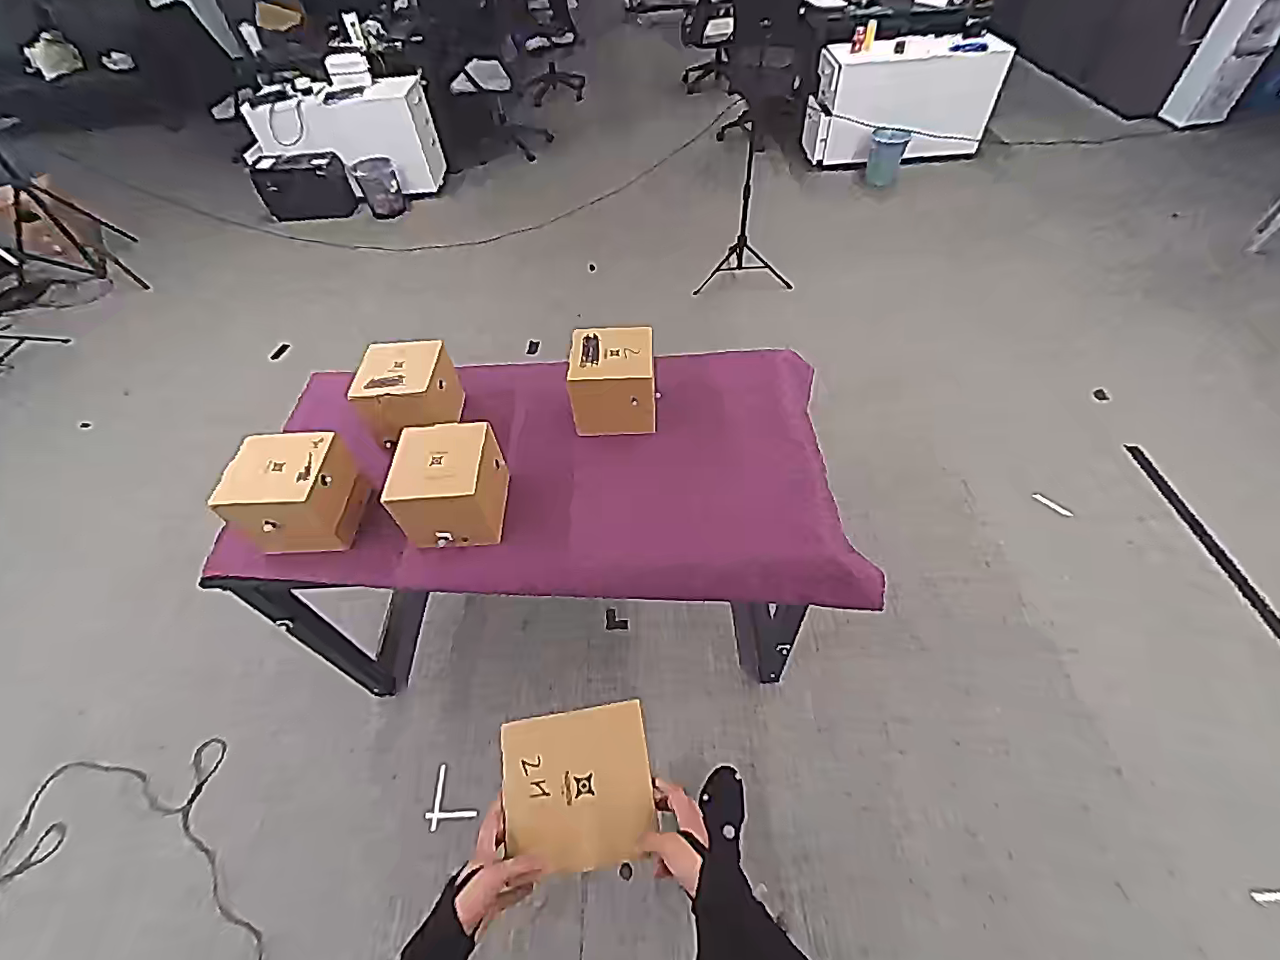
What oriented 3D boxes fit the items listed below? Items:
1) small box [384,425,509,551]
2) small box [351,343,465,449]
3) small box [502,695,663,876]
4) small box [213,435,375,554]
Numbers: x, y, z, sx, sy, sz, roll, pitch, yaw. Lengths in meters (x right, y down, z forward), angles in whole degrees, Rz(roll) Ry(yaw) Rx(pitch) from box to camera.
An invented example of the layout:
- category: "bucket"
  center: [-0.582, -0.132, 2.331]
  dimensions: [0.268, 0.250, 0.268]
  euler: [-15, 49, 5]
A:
- category: "small box"
  center: [-0.358, 0.017, 1.040]
  dimensions: [0.168, 0.176, 0.179]
  euler: [-4, 53, 2]
- category: "small box"
  center: [-0.506, -0.181, 1.209]
  dimensions: [0.168, 0.176, 0.179]
  euler: [-3, 51, 1]
- category: "small box"
  center: [-0.071, 0.389, 0.701]
  dimensions: [0.179, 0.176, 0.168]
  euler: [-9, 59, -3]
- category: "small box"
  center: [-0.653, 0.032, 1.047]
  dimensions: [0.179, 0.176, 0.168]
  euler: [-3, 52, 3]
